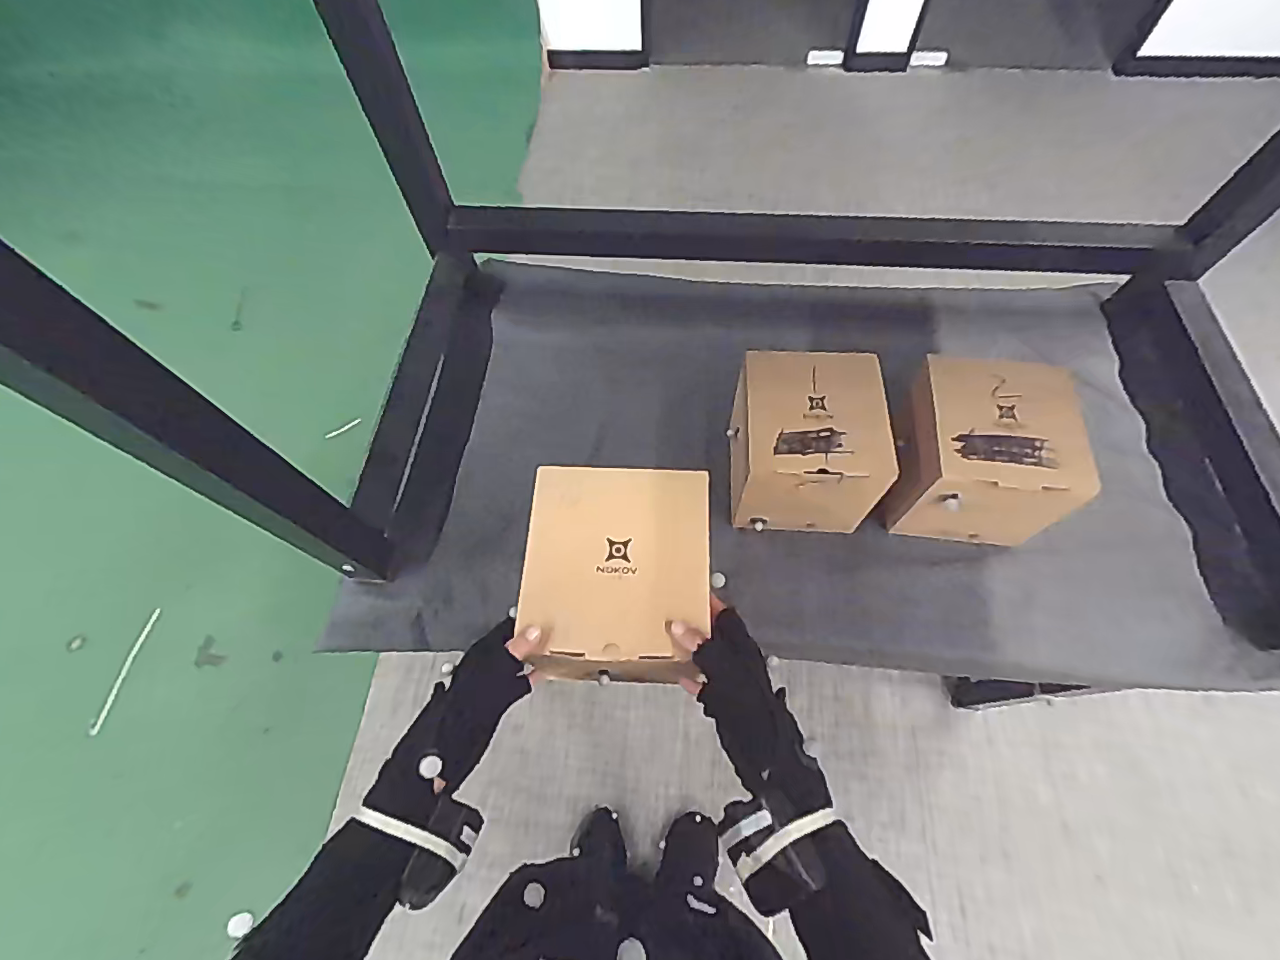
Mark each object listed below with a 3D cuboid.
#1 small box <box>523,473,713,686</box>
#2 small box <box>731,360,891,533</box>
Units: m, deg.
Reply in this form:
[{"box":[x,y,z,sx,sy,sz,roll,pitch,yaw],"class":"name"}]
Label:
[{"box":[-0.015,0.110,0.568,0.168,0.176,0.179,1,62,2],"class":"small box"},{"box":[0.214,-0.039,0.725,0.168,0.176,0.179,2,61,4],"class":"small box"}]
